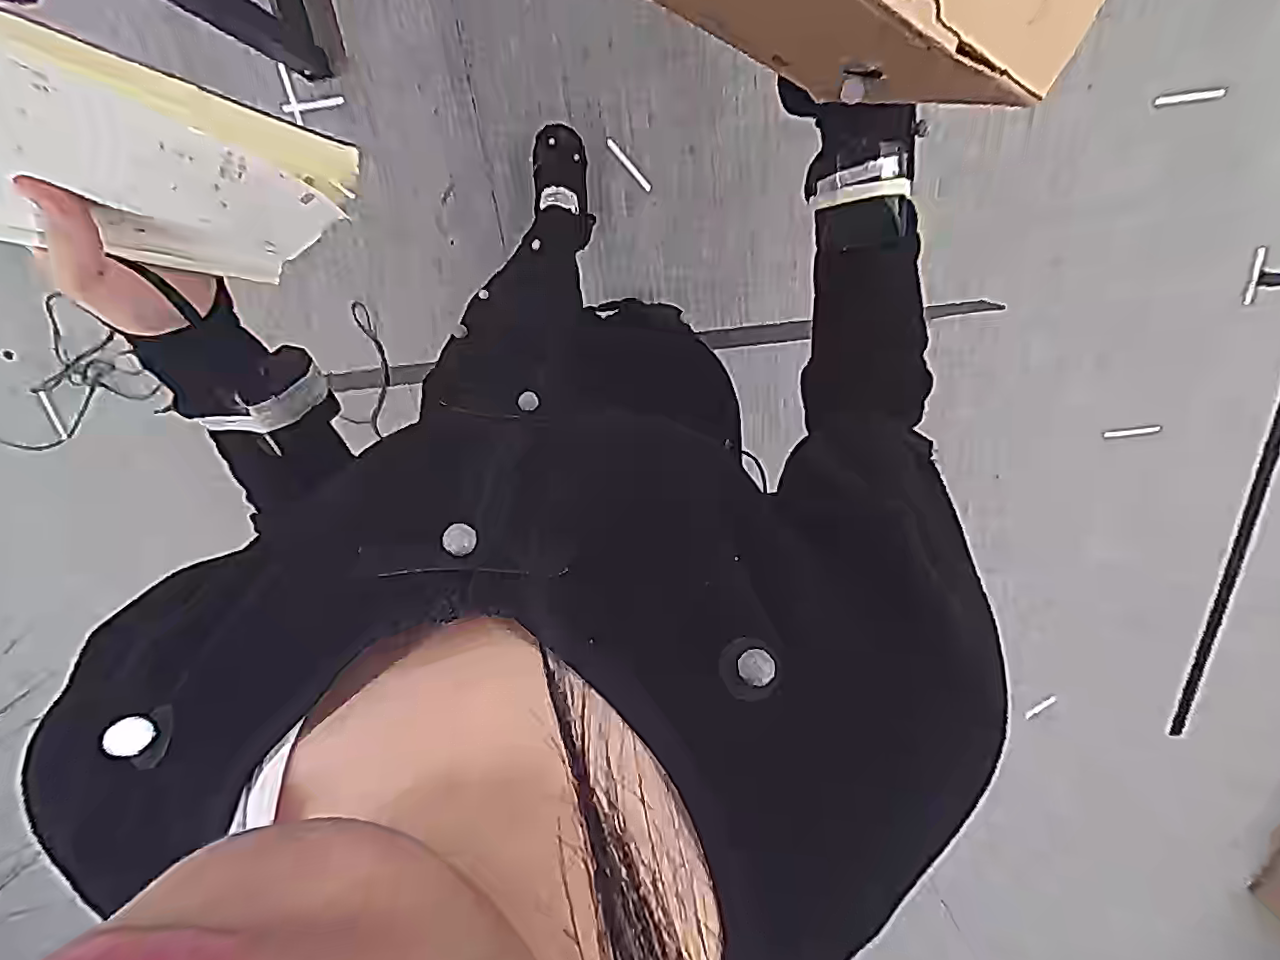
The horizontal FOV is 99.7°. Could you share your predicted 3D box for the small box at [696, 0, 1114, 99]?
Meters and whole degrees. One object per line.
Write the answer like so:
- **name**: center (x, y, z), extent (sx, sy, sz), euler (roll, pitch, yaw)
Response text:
- **small box**: center (0.112, -0.291, 0.224), extent (0.168, 0.176, 0.179), euler (7, 121, -27)
